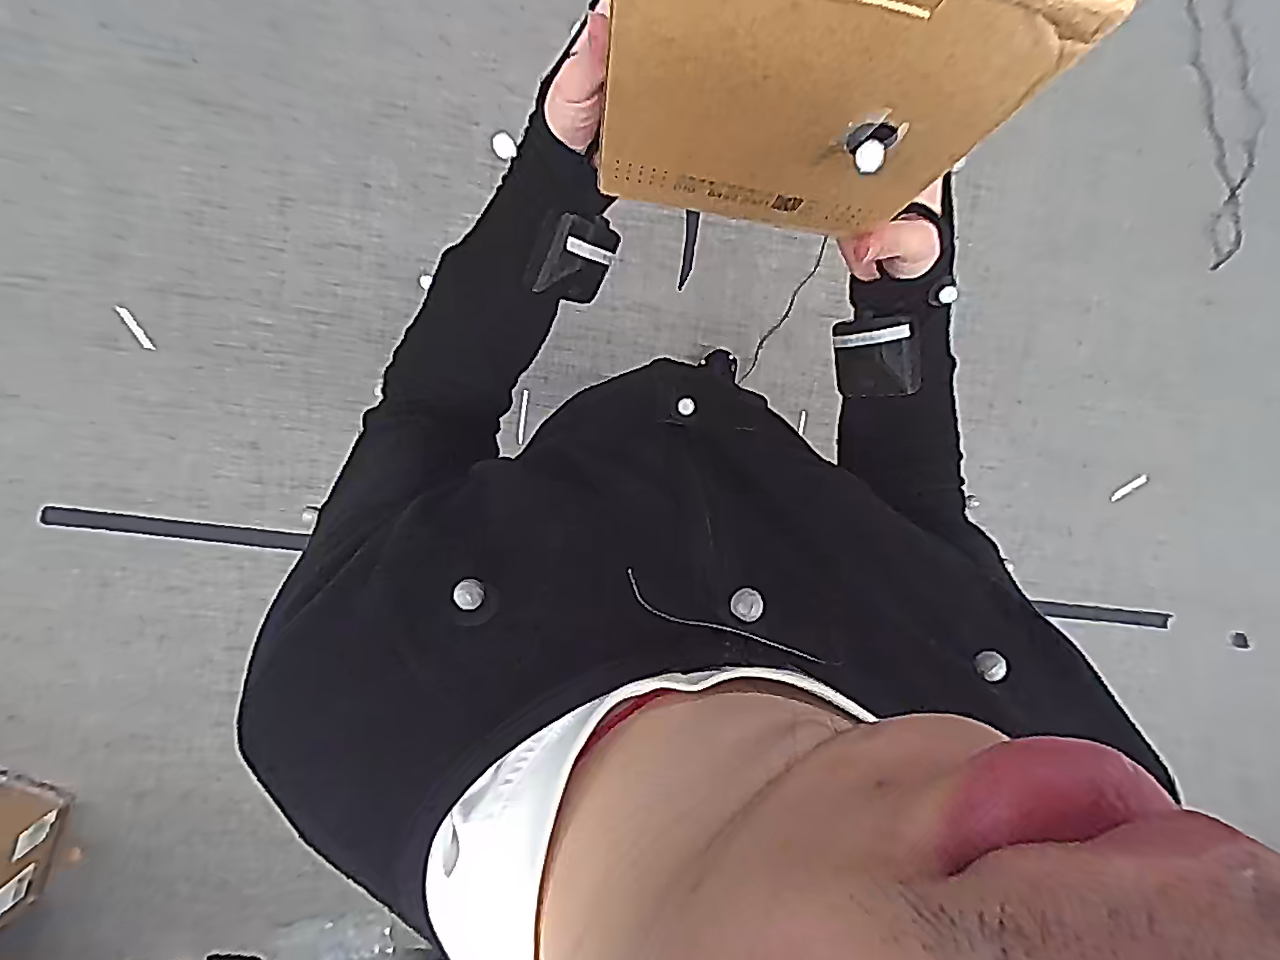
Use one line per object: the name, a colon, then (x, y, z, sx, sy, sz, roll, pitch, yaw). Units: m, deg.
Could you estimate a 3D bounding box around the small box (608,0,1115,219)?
small box: (0.078, -0.249, 0.247, 0.168, 0.176, 0.179, 6, 89, -8)
